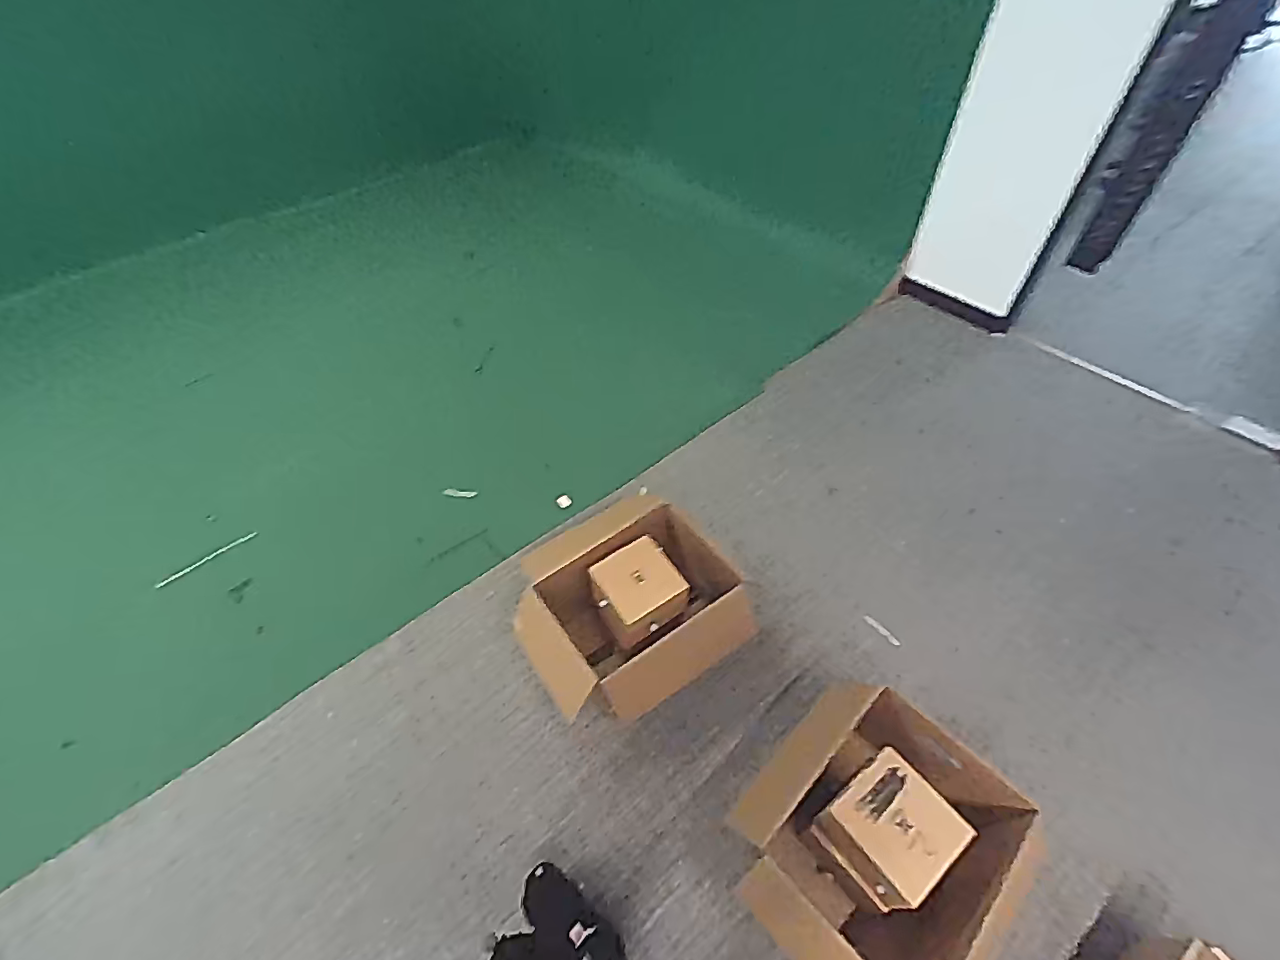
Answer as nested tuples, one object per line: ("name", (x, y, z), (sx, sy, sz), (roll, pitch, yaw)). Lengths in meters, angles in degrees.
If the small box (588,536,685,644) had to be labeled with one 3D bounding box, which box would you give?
("small box", (-0.005, 0.277, 1.318), (0.168, 0.176, 0.179), (-29, 55, -19))
